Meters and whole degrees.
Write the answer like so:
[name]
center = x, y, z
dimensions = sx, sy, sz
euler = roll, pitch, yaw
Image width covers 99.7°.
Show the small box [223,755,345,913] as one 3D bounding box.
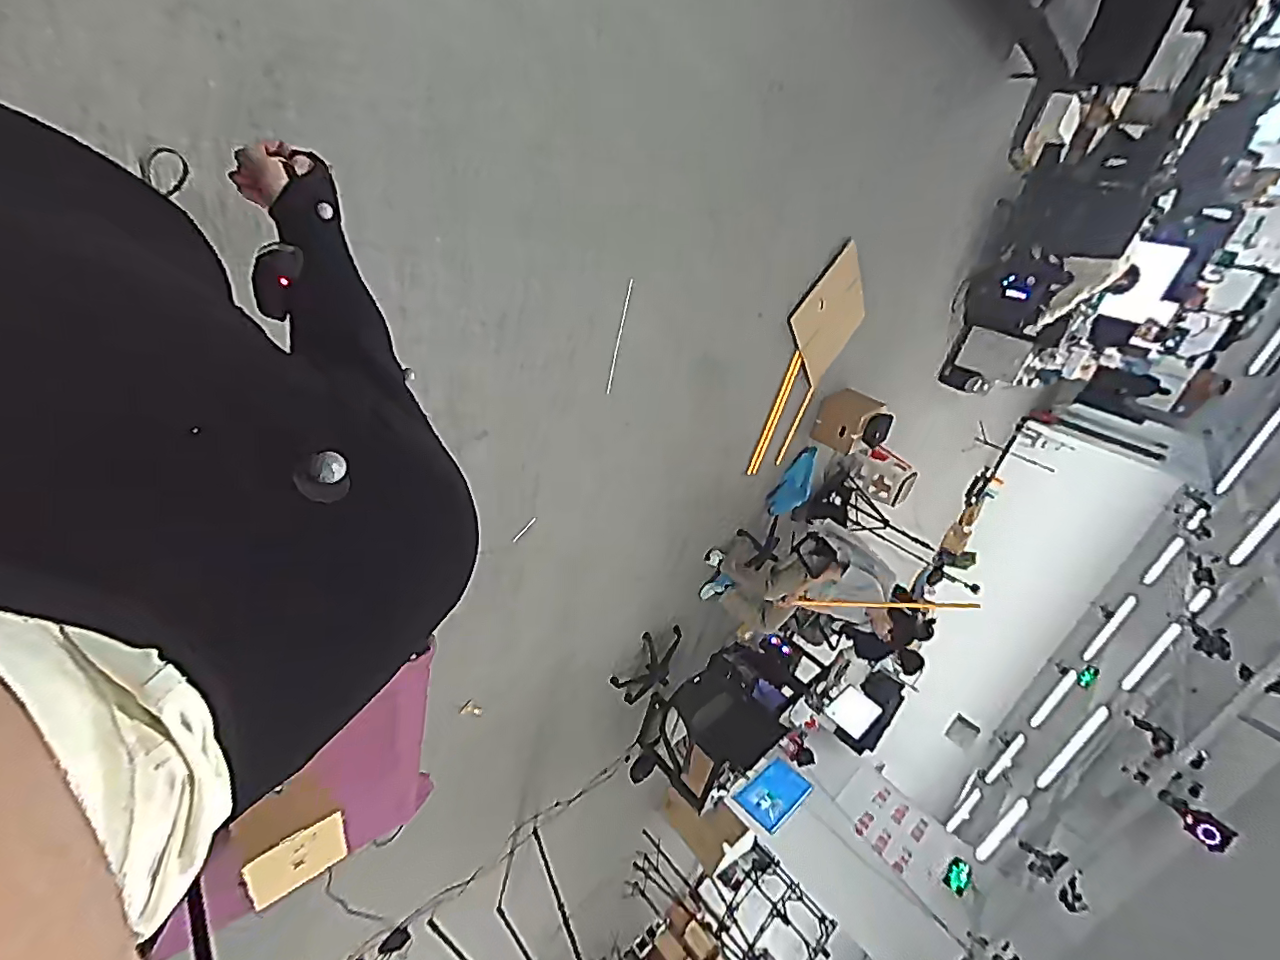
[small box]
center = -0.719, 0.708, 1.099
dimensions = 0.168, 0.176, 0.179
euler = -17, 129, -41
